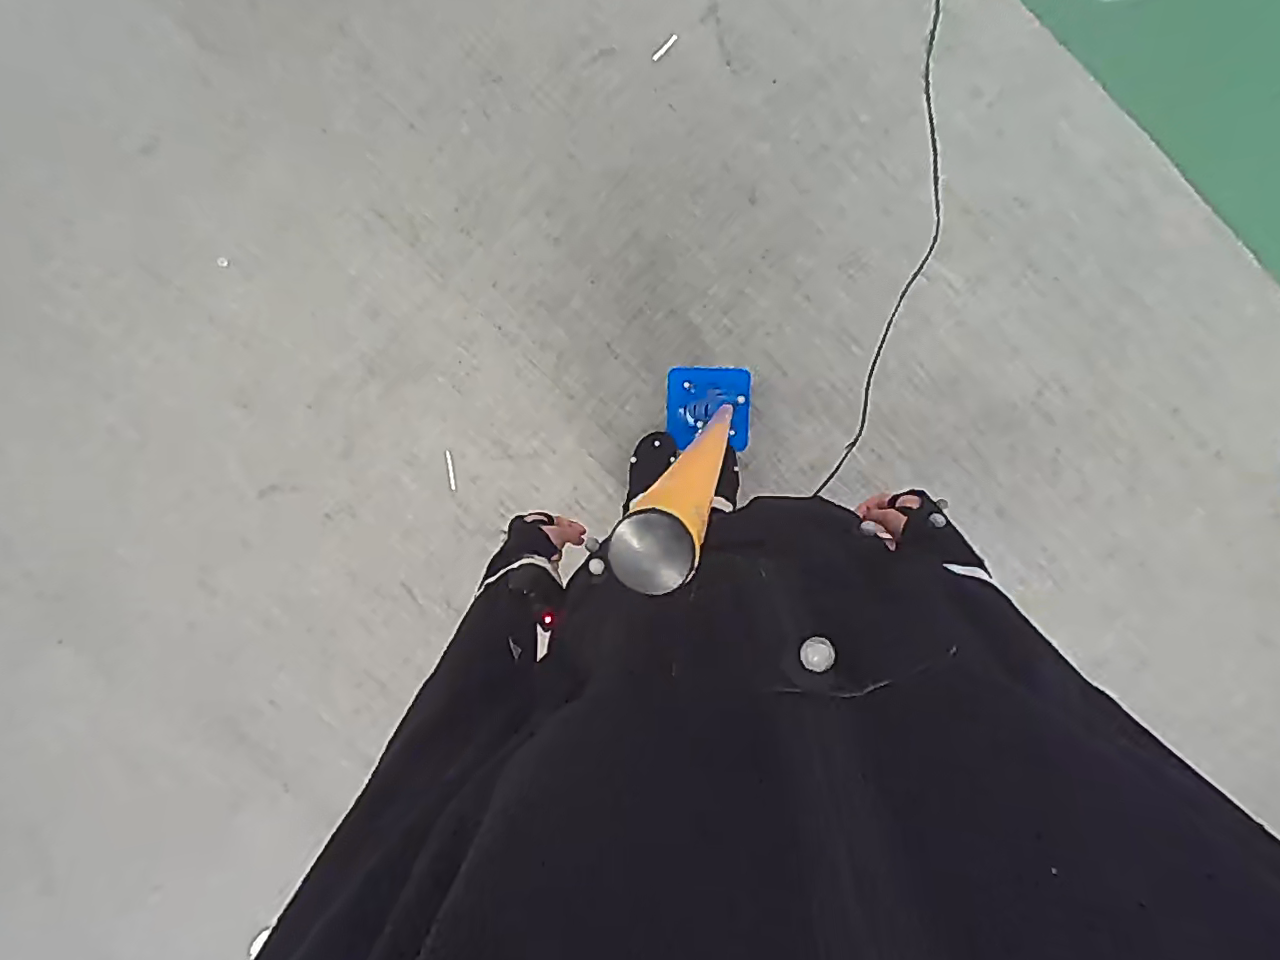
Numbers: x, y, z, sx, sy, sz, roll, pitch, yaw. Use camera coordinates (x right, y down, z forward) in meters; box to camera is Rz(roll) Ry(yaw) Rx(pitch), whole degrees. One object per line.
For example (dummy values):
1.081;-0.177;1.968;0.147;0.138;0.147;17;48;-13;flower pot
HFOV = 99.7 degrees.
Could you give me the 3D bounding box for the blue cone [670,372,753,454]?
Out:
0.161;-0.136;1.113;0.193;0.380;0.192;0;97;3;blue cone
